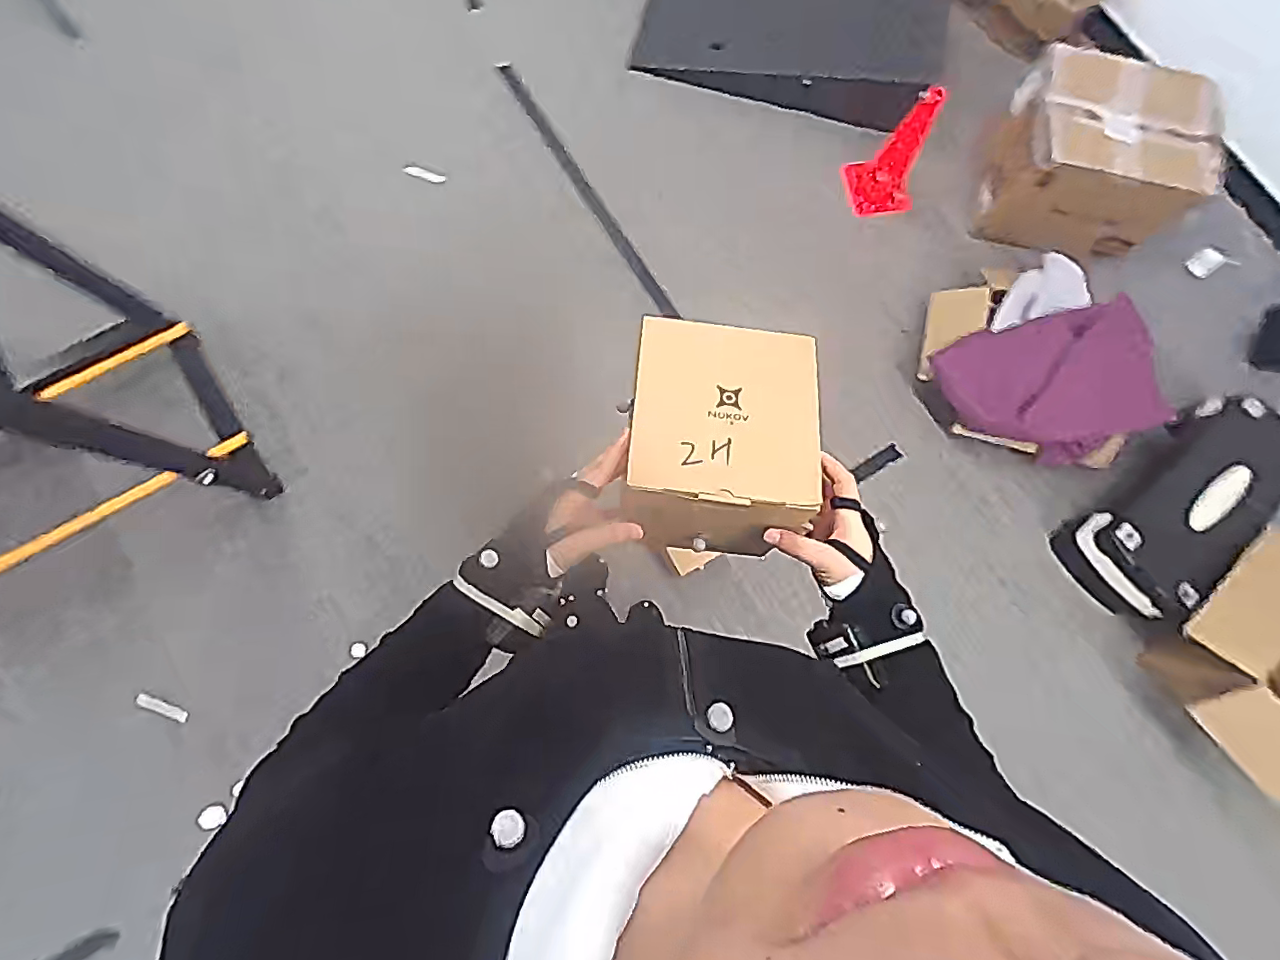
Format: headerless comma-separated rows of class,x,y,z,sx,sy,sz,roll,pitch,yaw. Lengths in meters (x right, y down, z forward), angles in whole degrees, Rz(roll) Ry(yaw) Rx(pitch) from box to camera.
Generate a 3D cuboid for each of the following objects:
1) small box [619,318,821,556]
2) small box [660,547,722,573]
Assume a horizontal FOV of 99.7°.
small box,0.069,-0.034,0.547,0.168,0.176,0.179,5,68,-2
small box,0.132,0.141,1.454,0.168,0.176,0.179,-27,82,-8
